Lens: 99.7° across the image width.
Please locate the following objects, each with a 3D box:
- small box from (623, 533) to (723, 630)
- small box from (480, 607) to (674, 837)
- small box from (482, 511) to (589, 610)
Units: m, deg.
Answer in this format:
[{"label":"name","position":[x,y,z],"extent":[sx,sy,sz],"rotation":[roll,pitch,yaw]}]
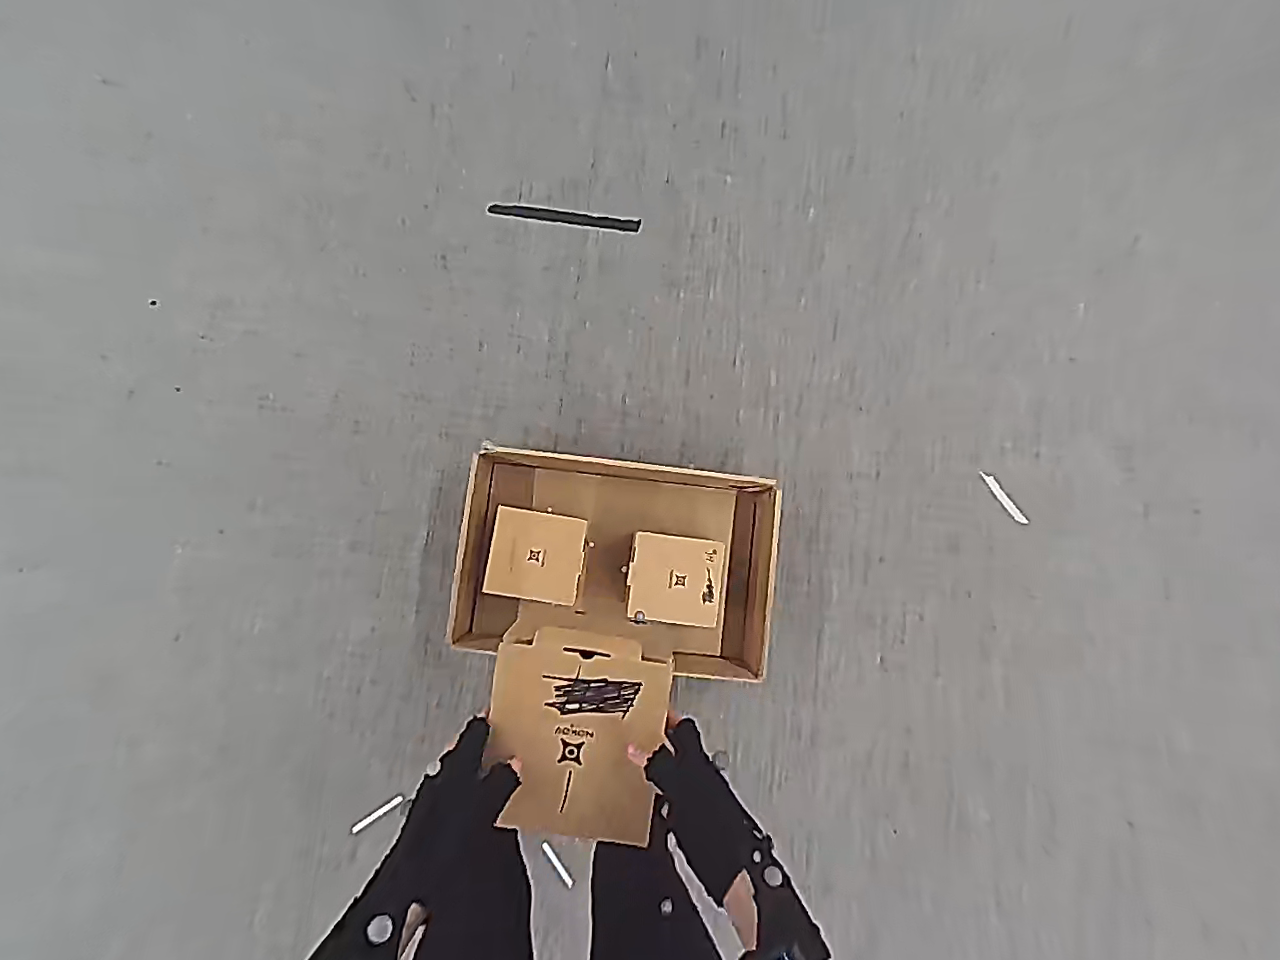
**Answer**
[{"label":"small box","position":[0.063,0.203,1.109],"extent":[0.179,0.176,0.168],"rotation":[7,84,-1]},{"label":"small box","position":[-0.061,0.246,0.594],"extent":[0.168,0.176,0.179],"rotation":[8,88,0]},{"label":"small box","position":[-0.201,0.158,1.095],"extent":[0.179,0.176,0.168],"rotation":[10,83,-3]}]
